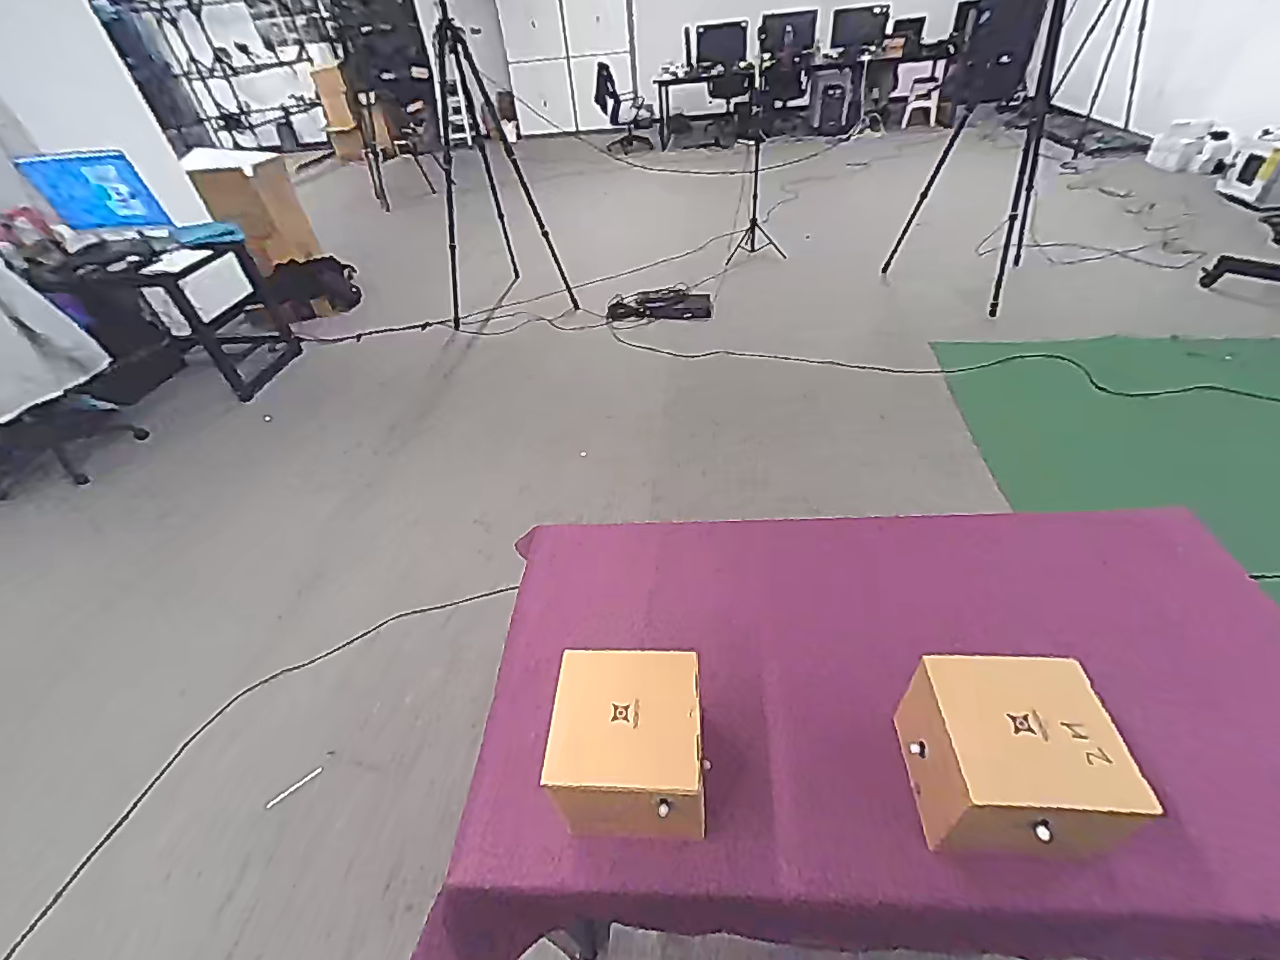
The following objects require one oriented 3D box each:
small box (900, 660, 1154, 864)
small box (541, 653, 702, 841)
[{"bbox_3d":[0.426,0.333,0.641,0.179,0.176,0.168,0,42,7],"label":"small box"},{"bbox_3d":[-0.011,0.340,0.691,0.179,0.176,0.168,-1,41,5],"label":"small box"}]
